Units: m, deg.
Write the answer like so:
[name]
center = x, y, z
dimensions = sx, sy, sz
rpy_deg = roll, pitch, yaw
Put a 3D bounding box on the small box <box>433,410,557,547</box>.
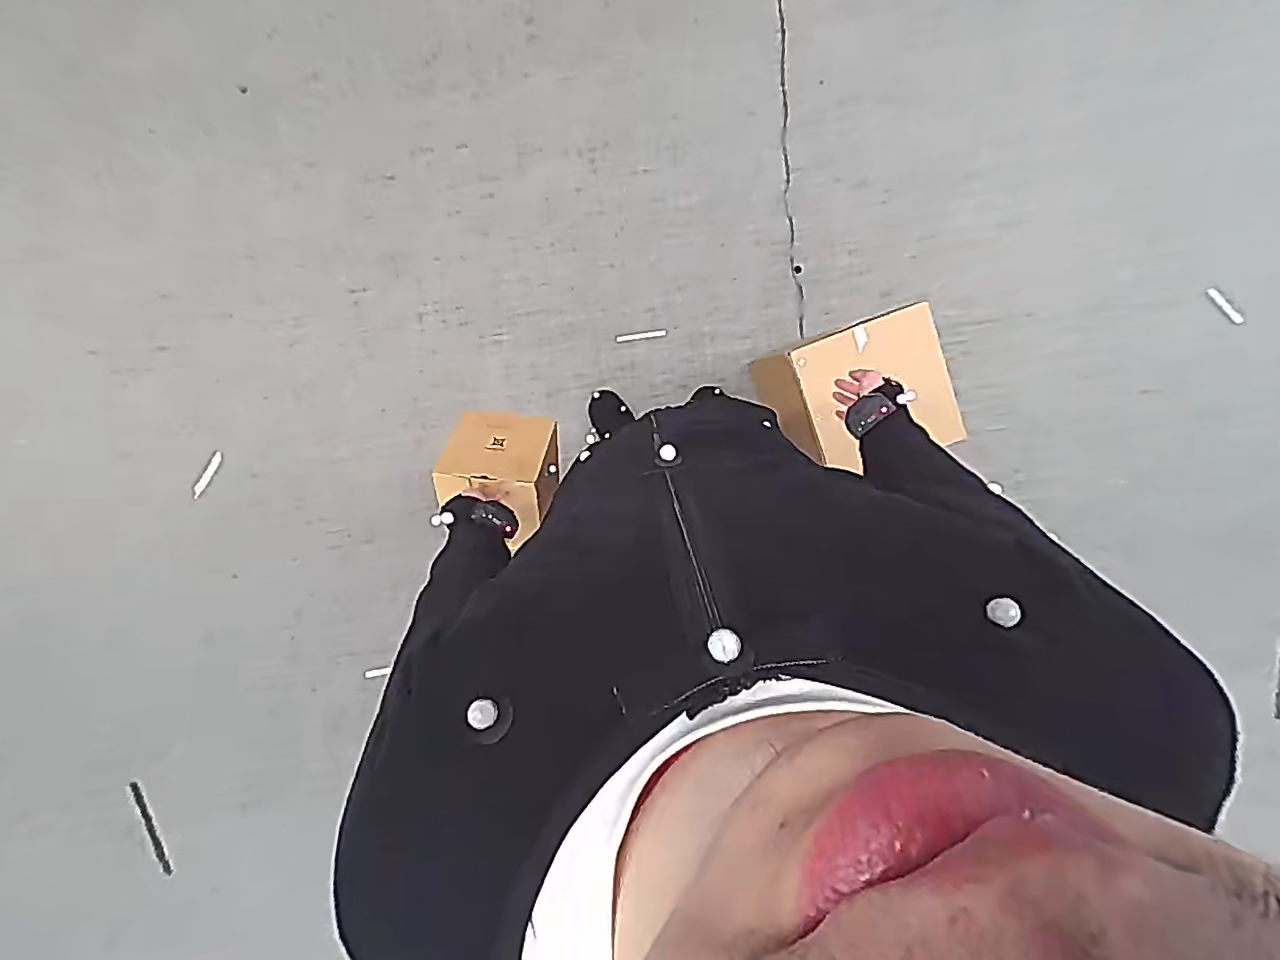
[small box]
center = -0.244, -0.001, 0.965
dimensions = 0.168, 0.179, 0.176
rpy_deg = 6, 133, 0
